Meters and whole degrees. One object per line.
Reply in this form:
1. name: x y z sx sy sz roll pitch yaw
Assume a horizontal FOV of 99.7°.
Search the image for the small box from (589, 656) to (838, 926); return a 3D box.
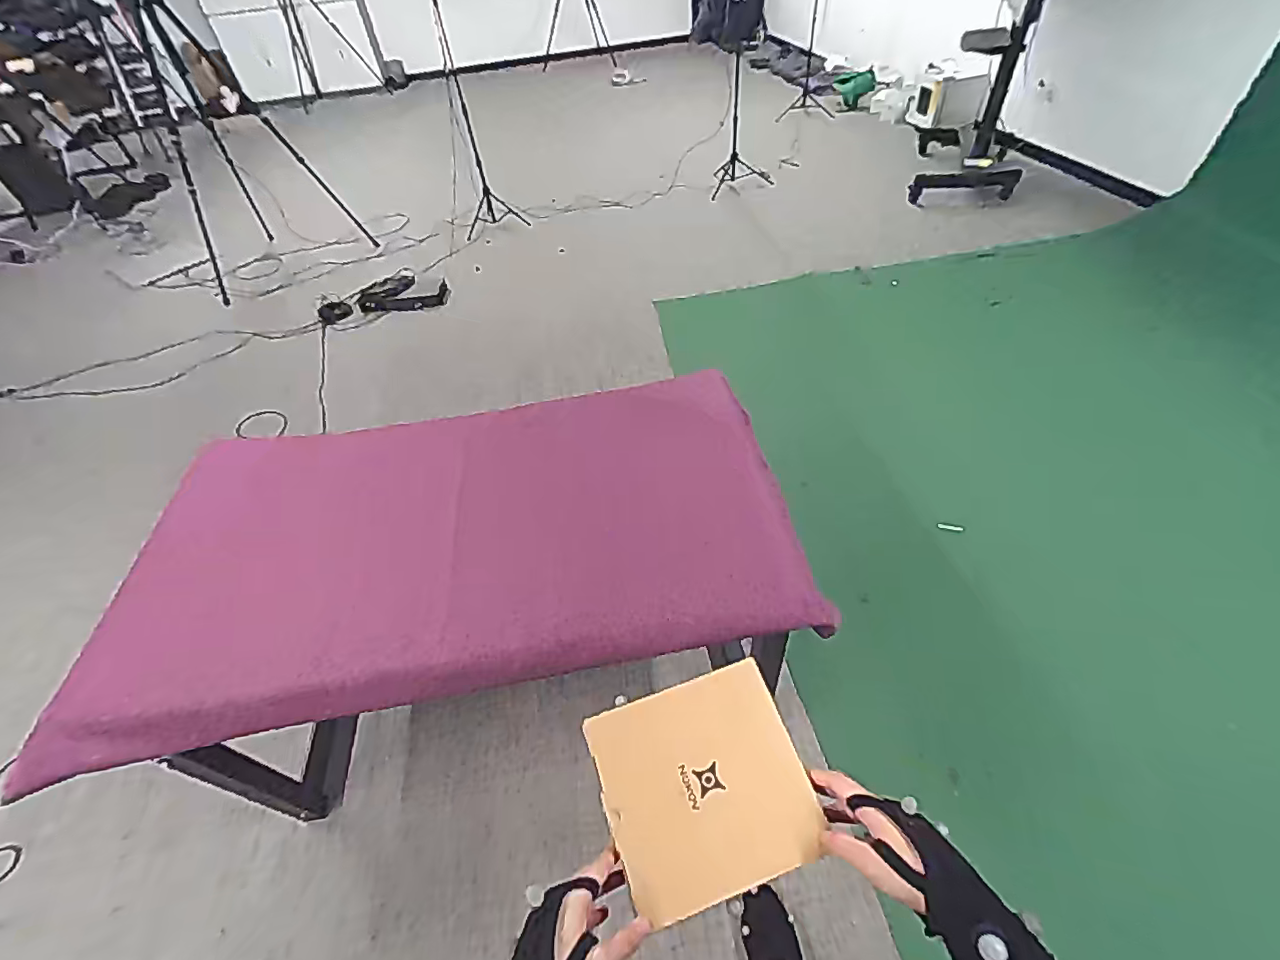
1. small box: 0.063 0.301 0.544 0.179 0.176 0.168 -19 59 -7
